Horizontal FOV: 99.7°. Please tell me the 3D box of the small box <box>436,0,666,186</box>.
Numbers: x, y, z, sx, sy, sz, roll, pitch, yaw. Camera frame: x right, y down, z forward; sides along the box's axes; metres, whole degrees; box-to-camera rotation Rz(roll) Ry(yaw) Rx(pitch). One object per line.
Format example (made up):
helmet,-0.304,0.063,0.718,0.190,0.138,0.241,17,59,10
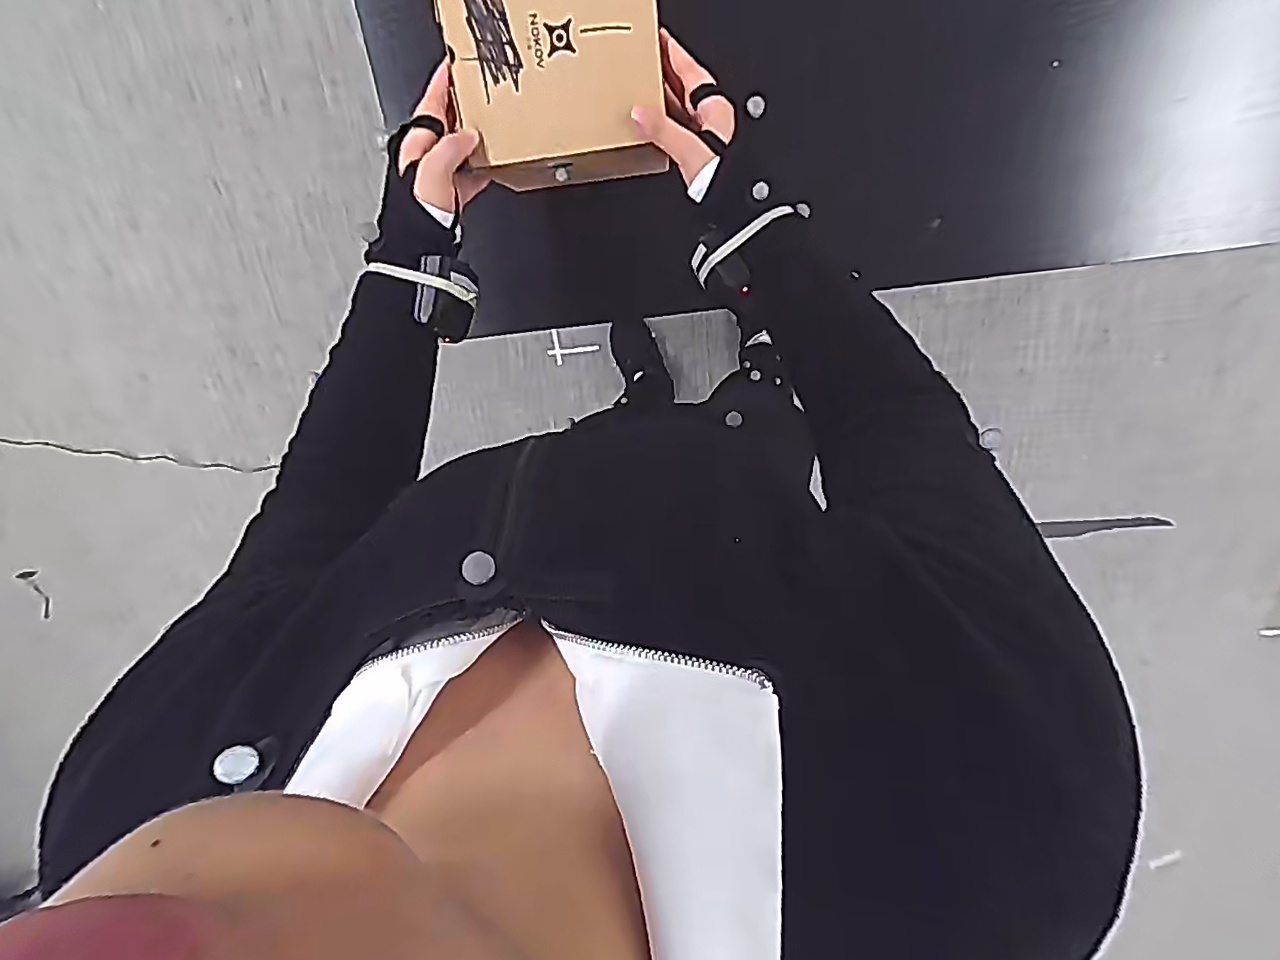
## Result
small box,-0.068,-0.386,0.508,0.179,0.176,0.168,-5,112,4
